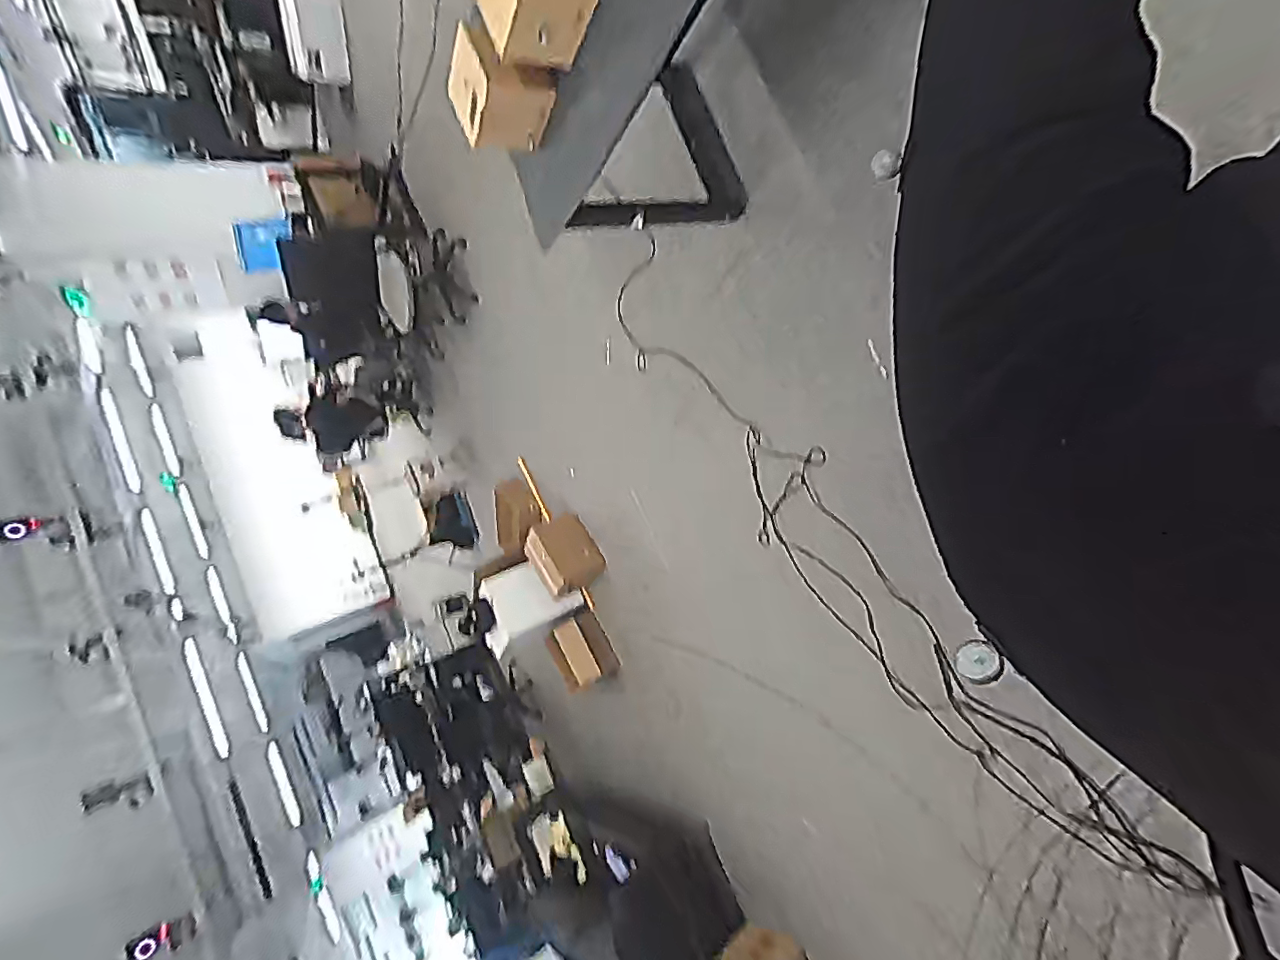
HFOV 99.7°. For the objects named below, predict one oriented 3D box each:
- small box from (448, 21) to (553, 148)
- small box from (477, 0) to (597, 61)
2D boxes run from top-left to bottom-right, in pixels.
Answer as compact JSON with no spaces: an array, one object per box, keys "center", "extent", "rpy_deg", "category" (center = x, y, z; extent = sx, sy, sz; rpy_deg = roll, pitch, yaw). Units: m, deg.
[{"center":[-0.322,-0.906,1.255],"extent":[0.168,0.176,0.179],"rpy_deg":[-35,76,56],"category":"small box"},{"center":[-0.205,-0.966,1.058],"extent":[0.168,0.176,0.179],"rpy_deg":[-30,81,57],"category":"small box"}]
